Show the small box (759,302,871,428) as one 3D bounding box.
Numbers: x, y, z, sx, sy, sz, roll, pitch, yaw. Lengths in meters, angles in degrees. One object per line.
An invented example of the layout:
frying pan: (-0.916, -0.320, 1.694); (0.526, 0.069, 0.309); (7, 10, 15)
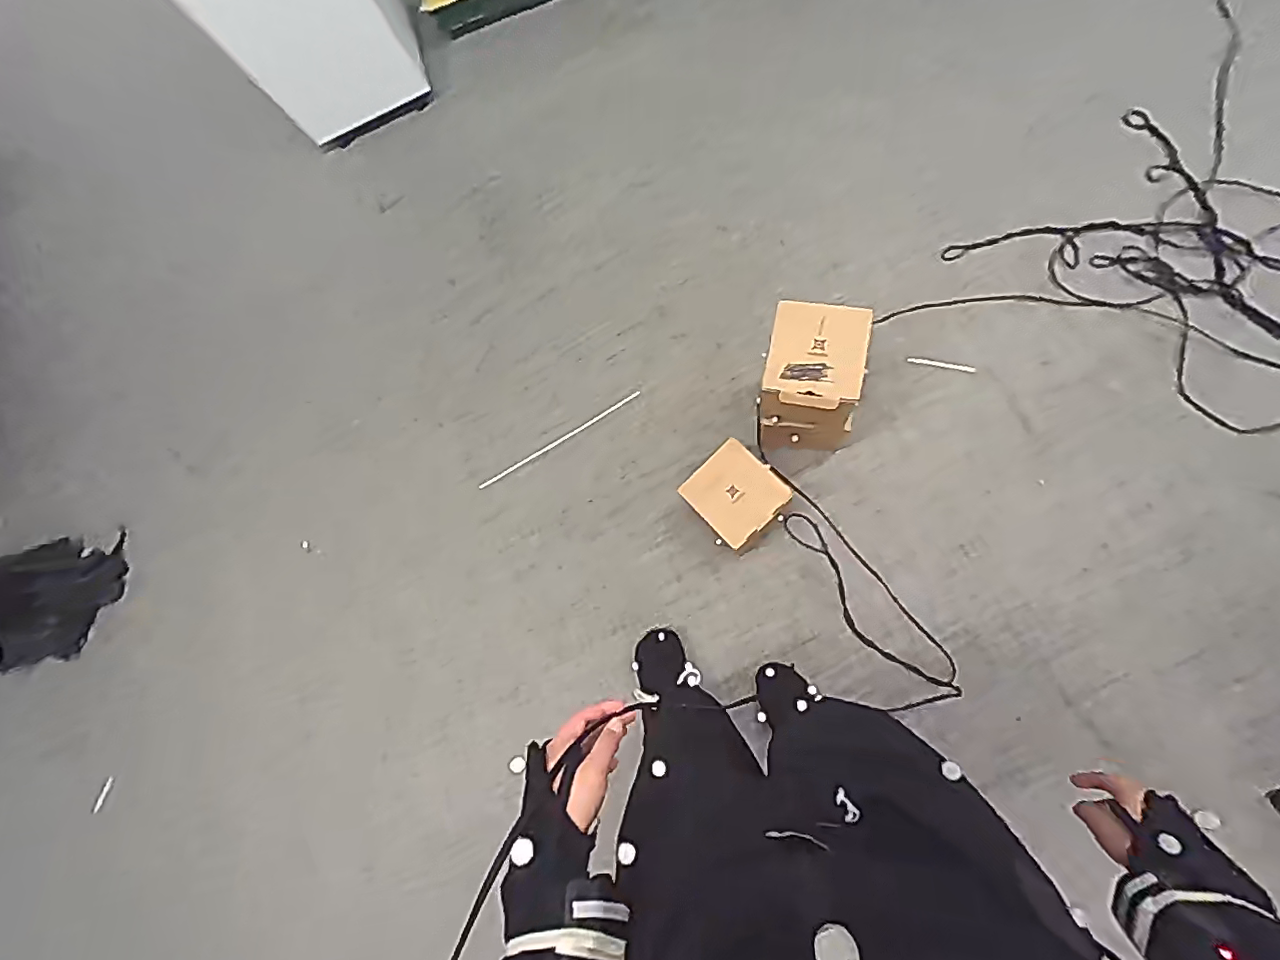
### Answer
small box: (0.323, -0.210, 1.025); (0.168, 0.176, 0.179); (11, 80, 13)

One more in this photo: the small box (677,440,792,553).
small box: (0.206, 0.043, 1.173); (0.168, 0.176, 0.179); (-45, 73, 0)

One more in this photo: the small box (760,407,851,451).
small box: (0.358, -0.166, 1.180); (0.179, 0.176, 0.168); (5, 79, 13)
